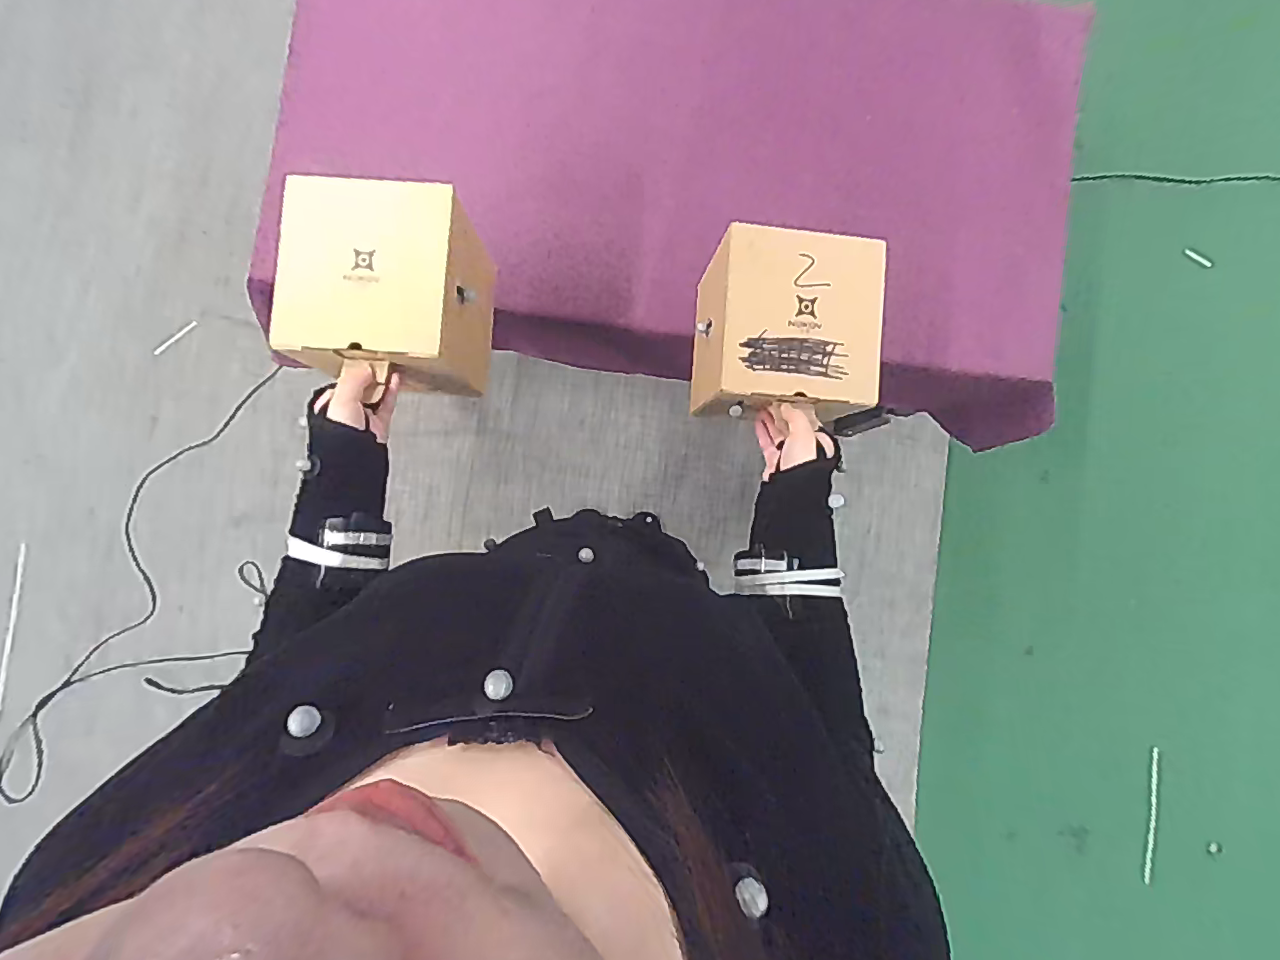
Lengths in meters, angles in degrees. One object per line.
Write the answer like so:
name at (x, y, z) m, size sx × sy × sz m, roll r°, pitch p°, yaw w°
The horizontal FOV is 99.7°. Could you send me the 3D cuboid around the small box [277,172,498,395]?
small box at (-0.262, -0.205, 0.605) m, size 0.168 × 0.176 × 0.179 m, roll 4°, pitch 86°, yaw -1°
